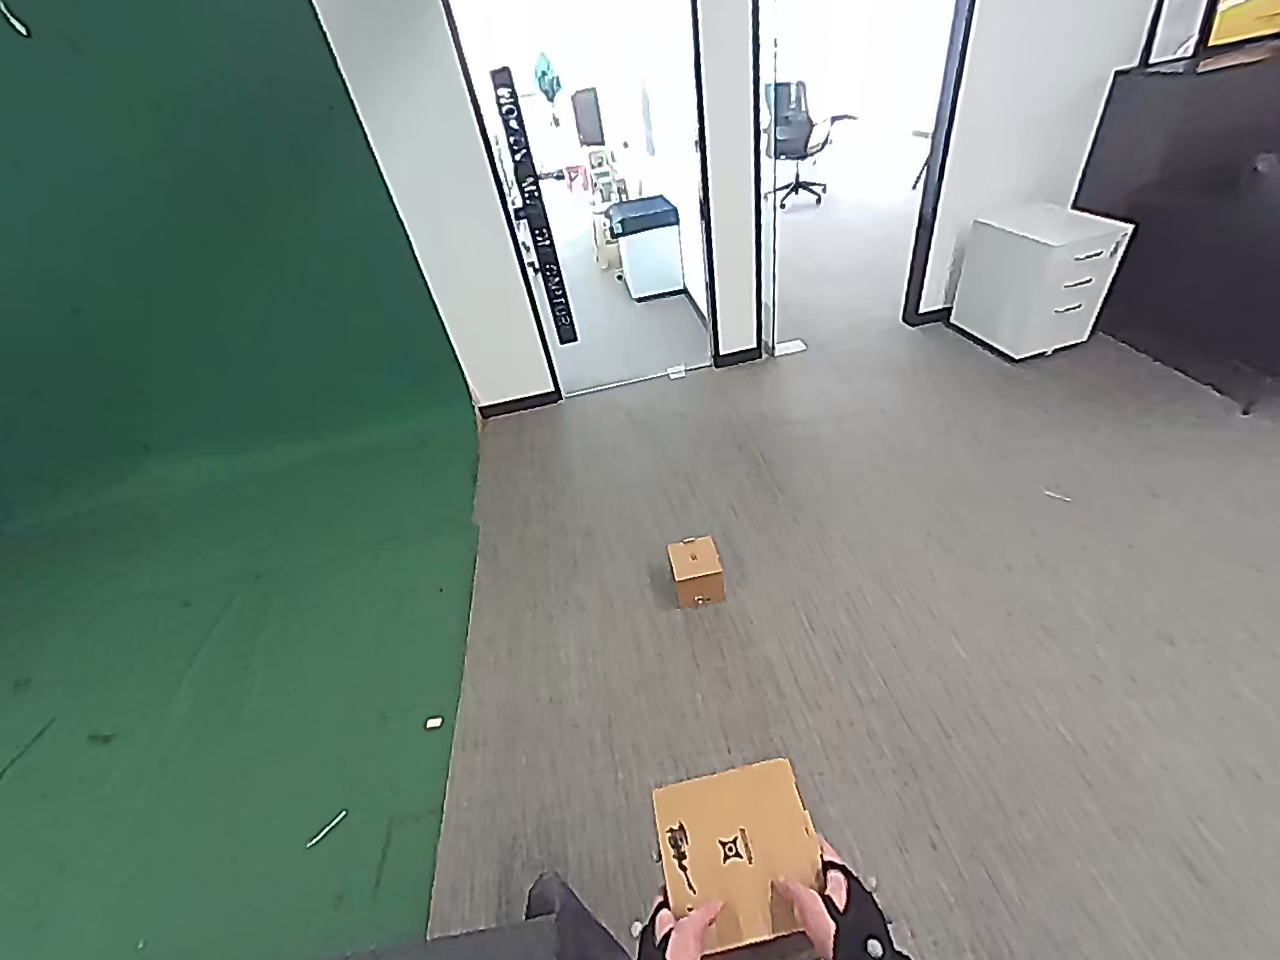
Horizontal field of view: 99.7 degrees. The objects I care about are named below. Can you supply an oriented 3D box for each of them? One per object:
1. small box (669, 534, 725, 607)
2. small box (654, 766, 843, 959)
[{"bbox_3d":[0.205,0.324,1.936,0.168,0.176,0.179,-12,40,2],"label":"small box"},{"bbox_3d":[0.123,0.479,0.654,0.179,0.176,0.168,-12,38,0],"label":"small box"}]
